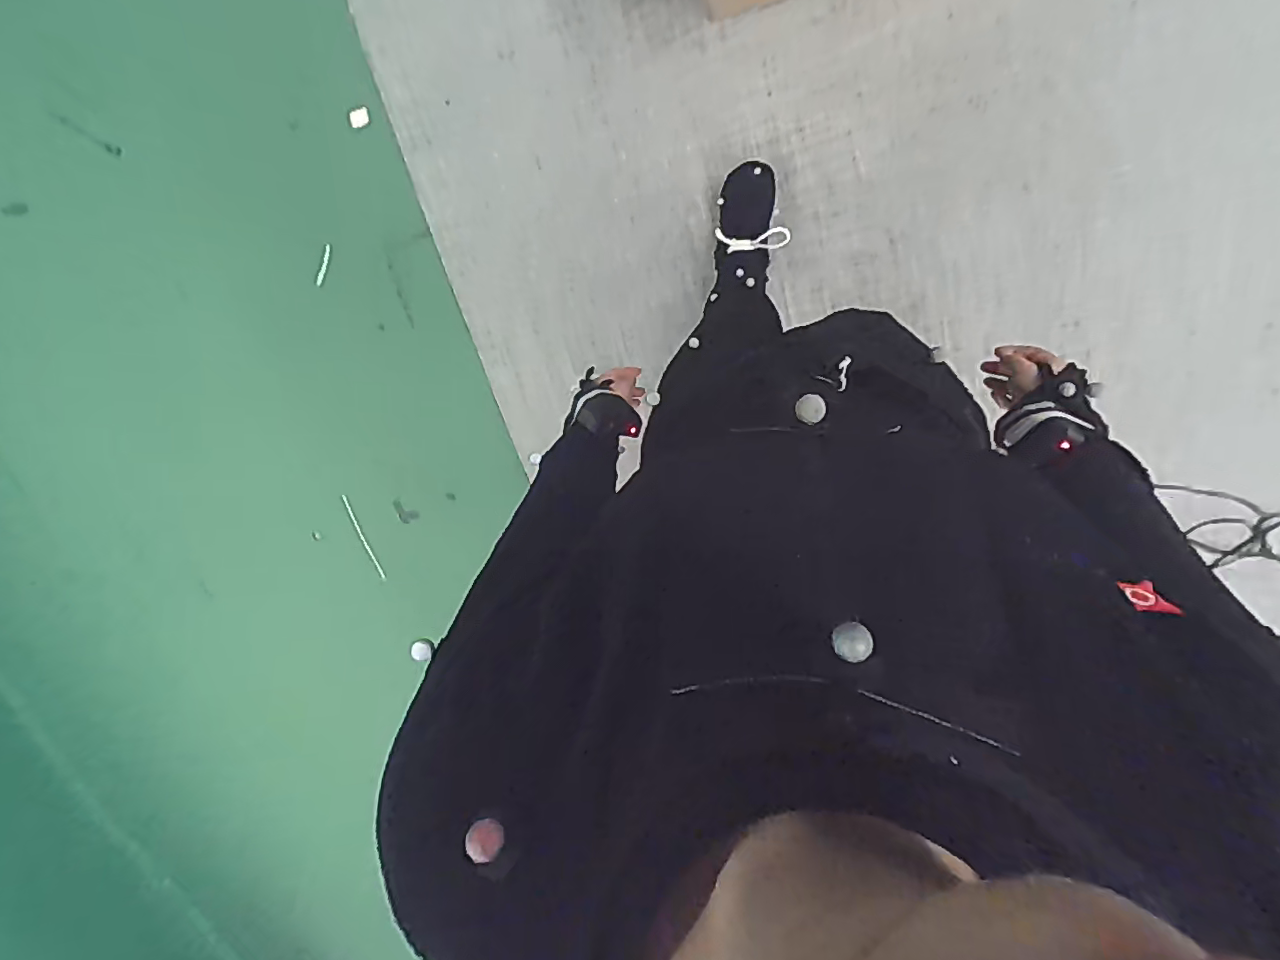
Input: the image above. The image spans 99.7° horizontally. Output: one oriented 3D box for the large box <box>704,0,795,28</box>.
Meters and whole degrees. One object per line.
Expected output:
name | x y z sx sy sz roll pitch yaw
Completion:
large box | 0.263 -0.986 0.817 0.408 0.320 0.320 -7 110 15
